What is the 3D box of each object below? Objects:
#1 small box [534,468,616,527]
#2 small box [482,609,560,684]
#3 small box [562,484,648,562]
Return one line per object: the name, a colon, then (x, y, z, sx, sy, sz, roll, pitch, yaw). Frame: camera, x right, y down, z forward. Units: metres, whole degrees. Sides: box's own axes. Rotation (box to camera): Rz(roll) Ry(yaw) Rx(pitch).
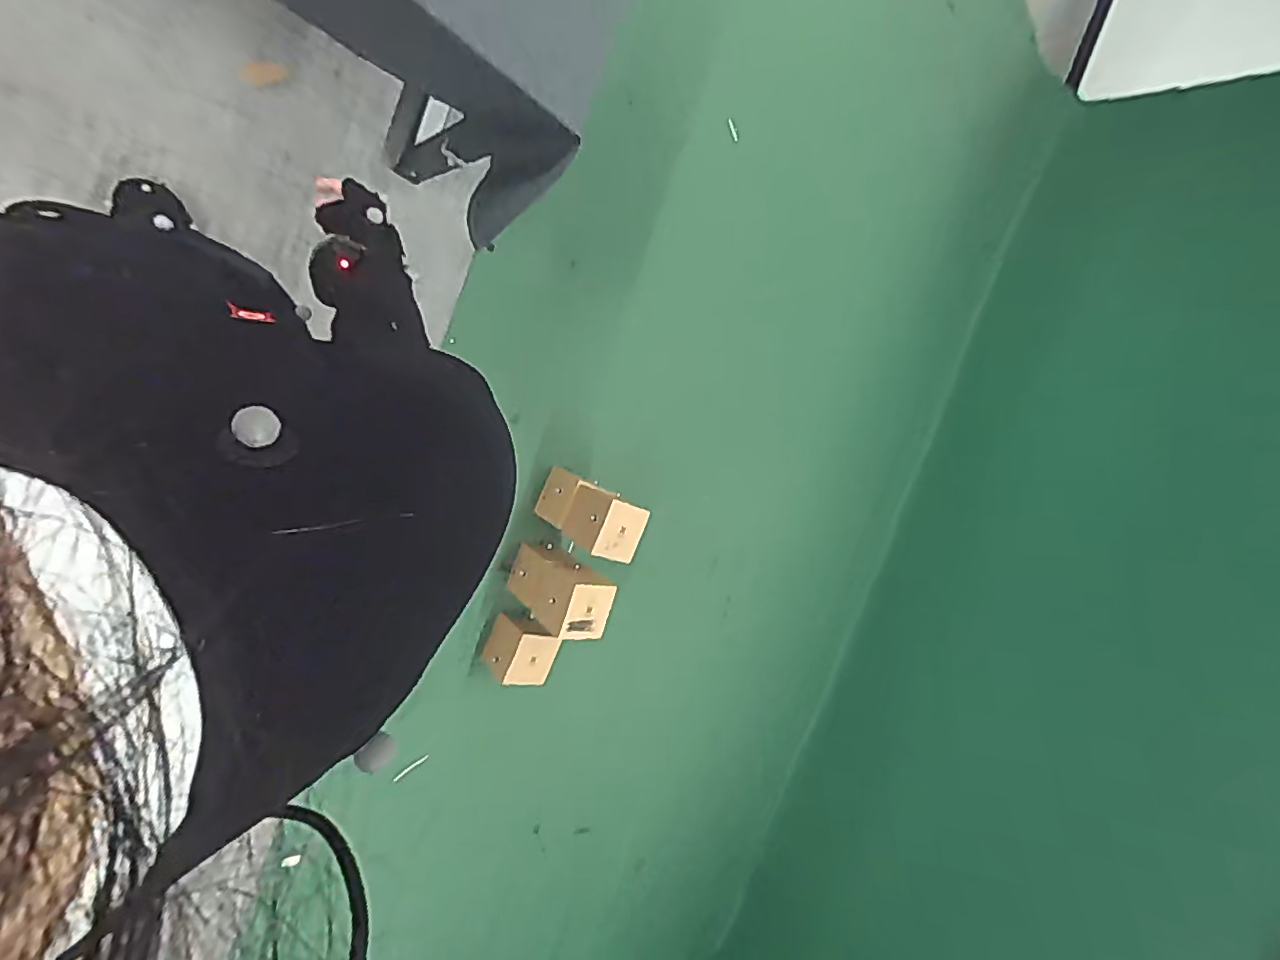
small box: (-0.219, 0.071, 1.771, 0.179, 0.176, 0.168, 24, 89, -44)
small box: (-0.401, 0.554, 1.799, 0.168, 0.176, 0.179, 23, 90, -44)
small box: (-0.112, 0.128, 1.659, 0.168, 0.176, 0.179, 23, 90, -43)
